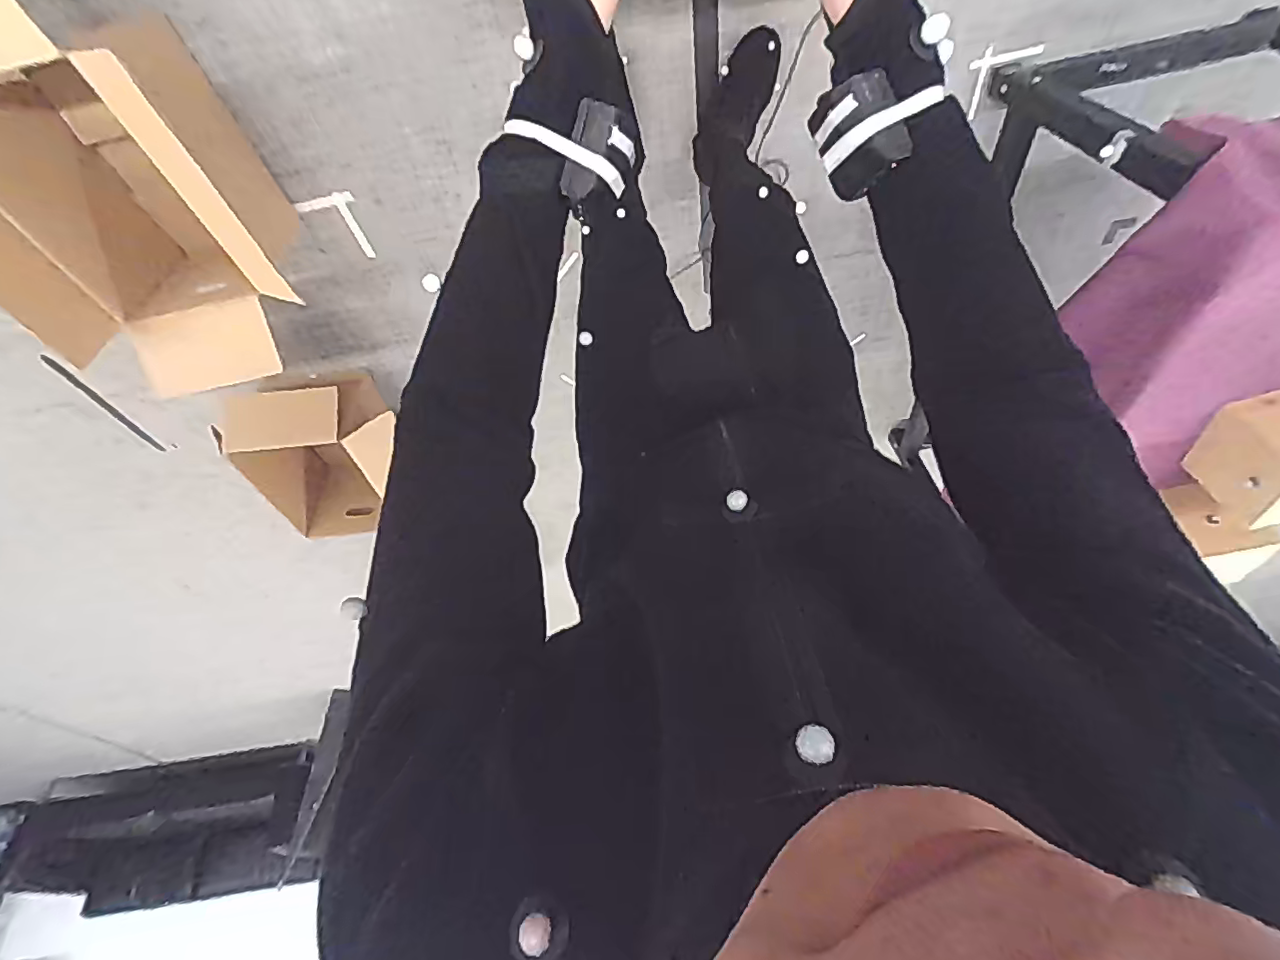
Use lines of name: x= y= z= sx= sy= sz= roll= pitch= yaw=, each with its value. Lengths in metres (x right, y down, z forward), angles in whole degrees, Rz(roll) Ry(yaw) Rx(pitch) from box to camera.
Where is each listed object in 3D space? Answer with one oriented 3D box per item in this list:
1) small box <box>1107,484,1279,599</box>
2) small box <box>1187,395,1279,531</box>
small box: x=1.169 y=0.129 z=1.160 sx=0.179 sy=0.176 sz=0.168 roll=-14 pitch=139 yaw=6
small box: x=1.145 y=-0.041 z=0.957 sx=0.168 sy=0.176 sz=0.179 roll=-15 pitch=139 yaw=11
